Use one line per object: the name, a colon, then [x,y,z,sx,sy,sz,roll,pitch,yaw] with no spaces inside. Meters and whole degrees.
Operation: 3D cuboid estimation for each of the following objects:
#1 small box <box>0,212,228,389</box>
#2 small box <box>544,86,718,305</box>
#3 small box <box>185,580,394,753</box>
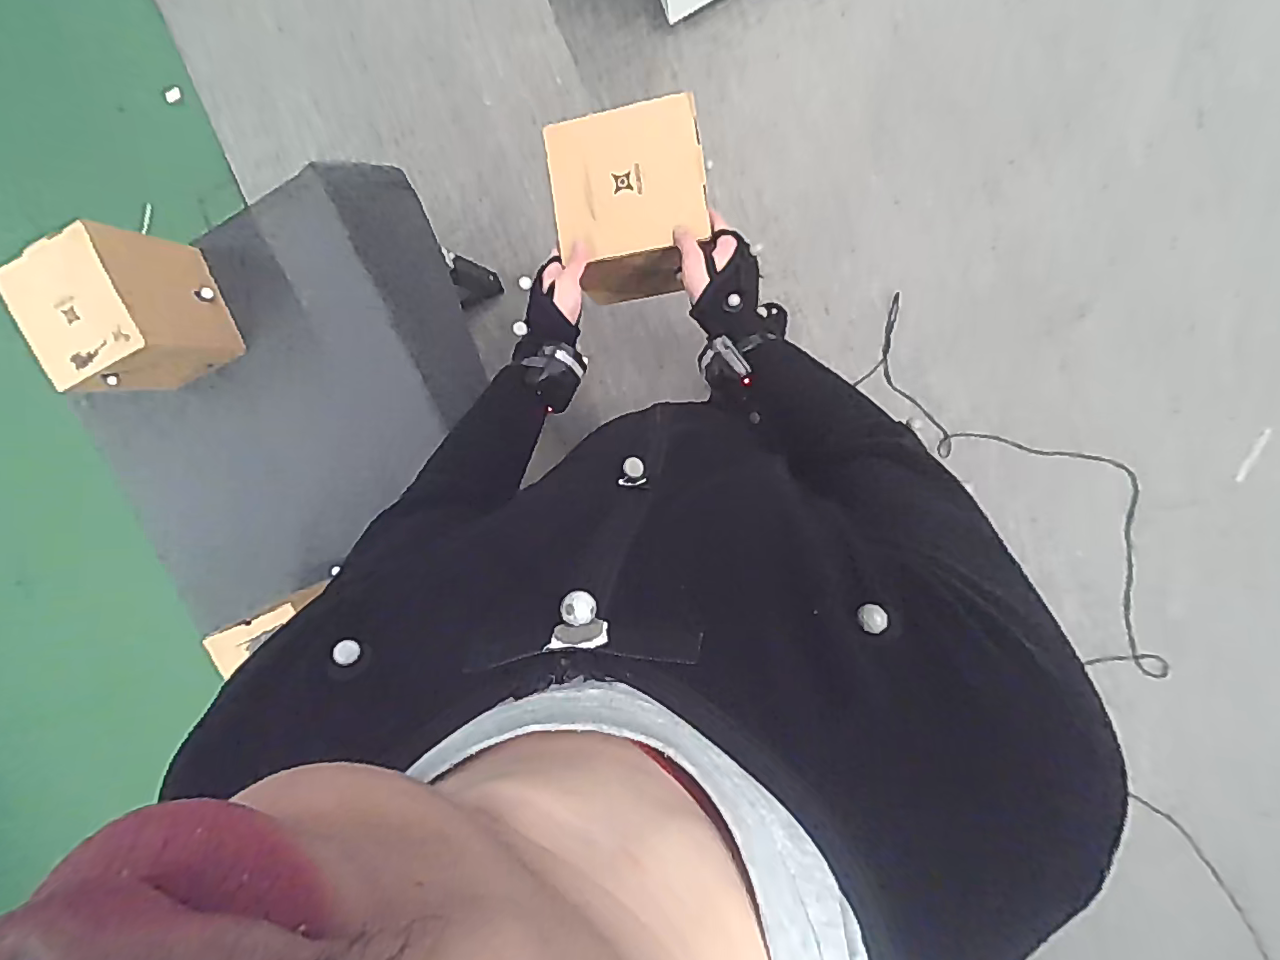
small box: [-0.749,-0.237,0.766,0.168,0.176,0.179,-21,96,9]
small box: [-0.001,-0.334,0.673,0.179,0.176,0.168,-9,89,9]
small box: [-0.520,0.269,0.827,0.168,0.176,0.179,-22,97,10]
